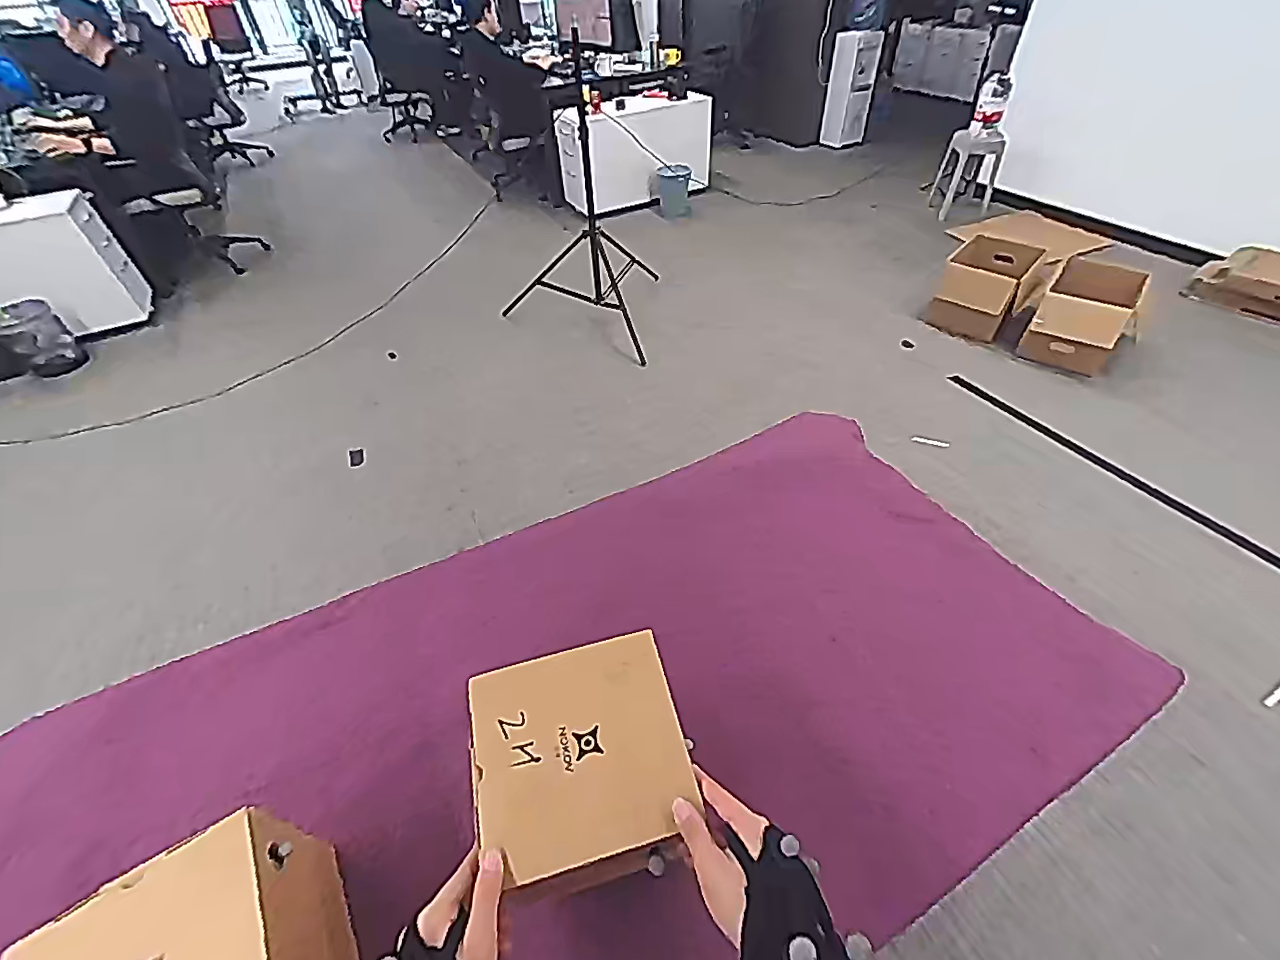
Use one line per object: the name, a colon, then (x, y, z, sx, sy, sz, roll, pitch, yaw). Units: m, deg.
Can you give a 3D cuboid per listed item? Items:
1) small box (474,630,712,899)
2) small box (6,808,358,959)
small box: (-0.045, 0.269, 0.511, 0.179, 0.176, 0.168, -13, 50, -8)
small box: (-0.344, 0.413, 0.432, 0.168, 0.176, 0.179, -28, 49, -23)
